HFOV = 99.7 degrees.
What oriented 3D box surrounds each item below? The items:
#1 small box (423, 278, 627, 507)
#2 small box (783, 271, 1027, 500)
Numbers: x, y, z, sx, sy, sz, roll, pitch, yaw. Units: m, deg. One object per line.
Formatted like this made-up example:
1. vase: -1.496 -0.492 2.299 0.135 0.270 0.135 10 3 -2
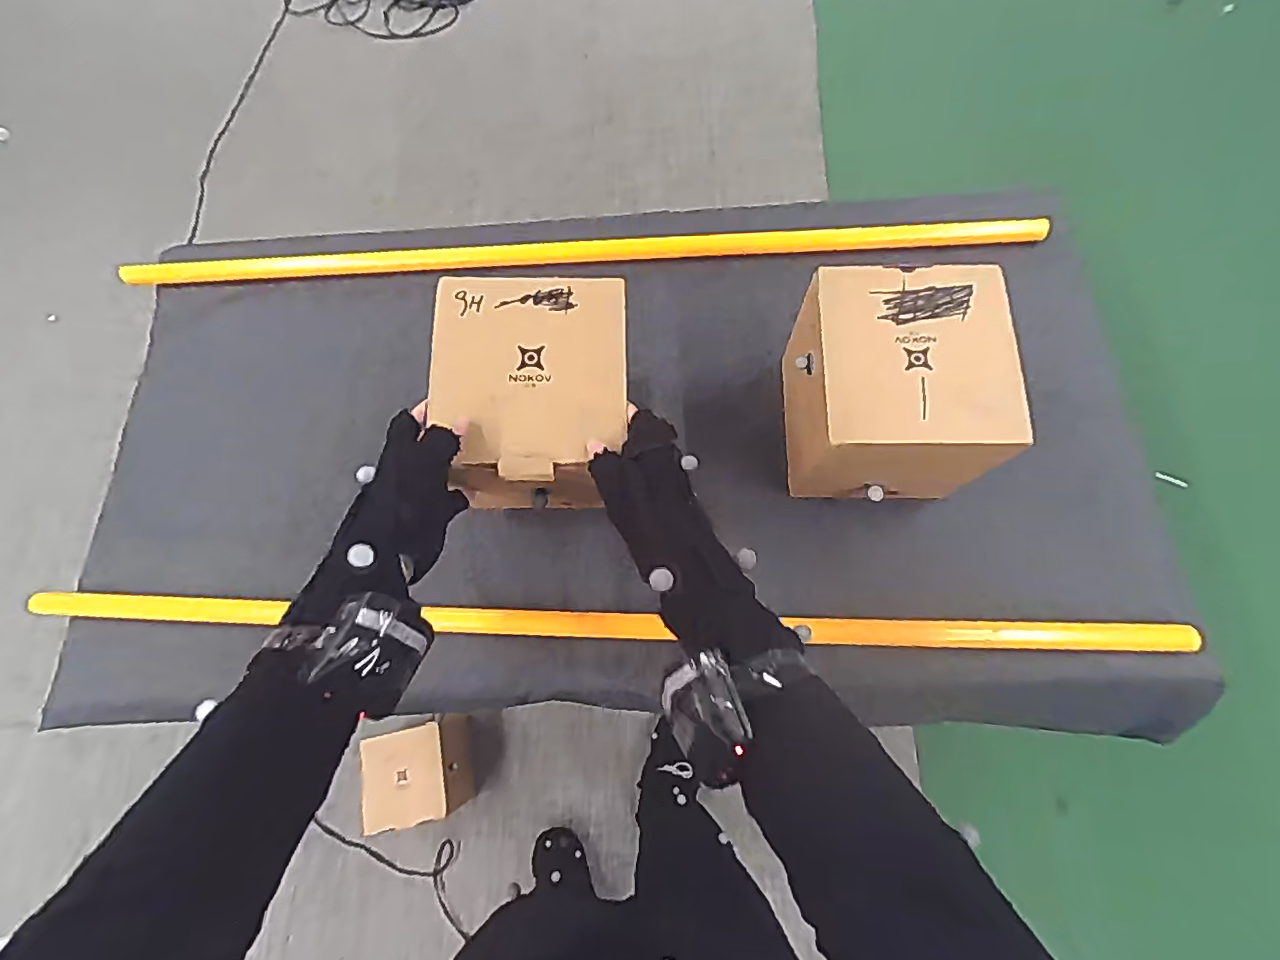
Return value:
1. small box: -0.099 -0.072 0.534 0.168 0.176 0.179 -3 76 -2
2. small box: 0.245 -0.087 0.551 0.168 0.176 0.179 0 73 4
